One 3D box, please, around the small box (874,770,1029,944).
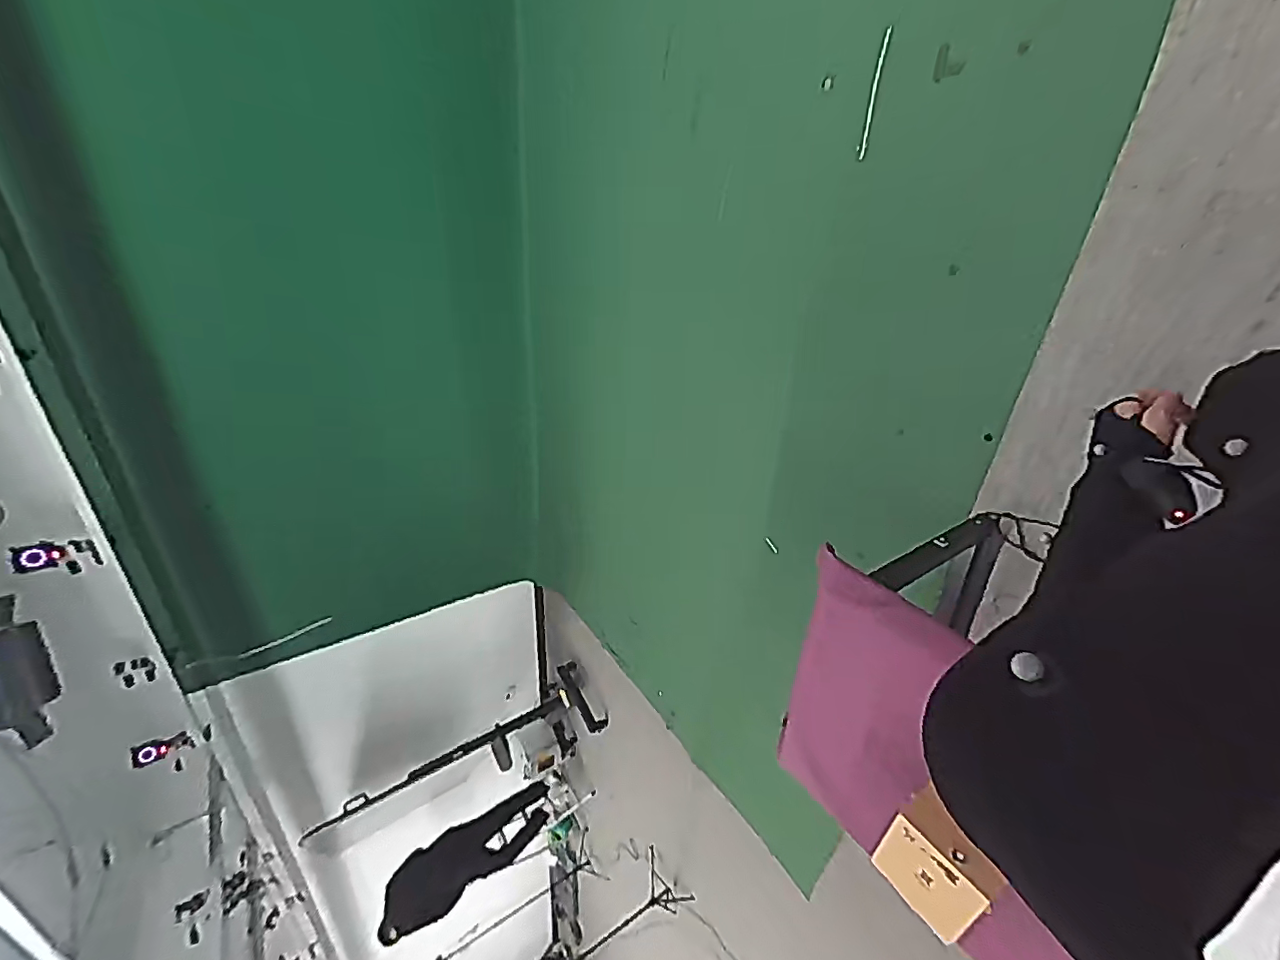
[{"bbox_3d":[0.574,0.688,1.001,0.168,0.176,0.179,39,134,42],"label":"small box"}]
